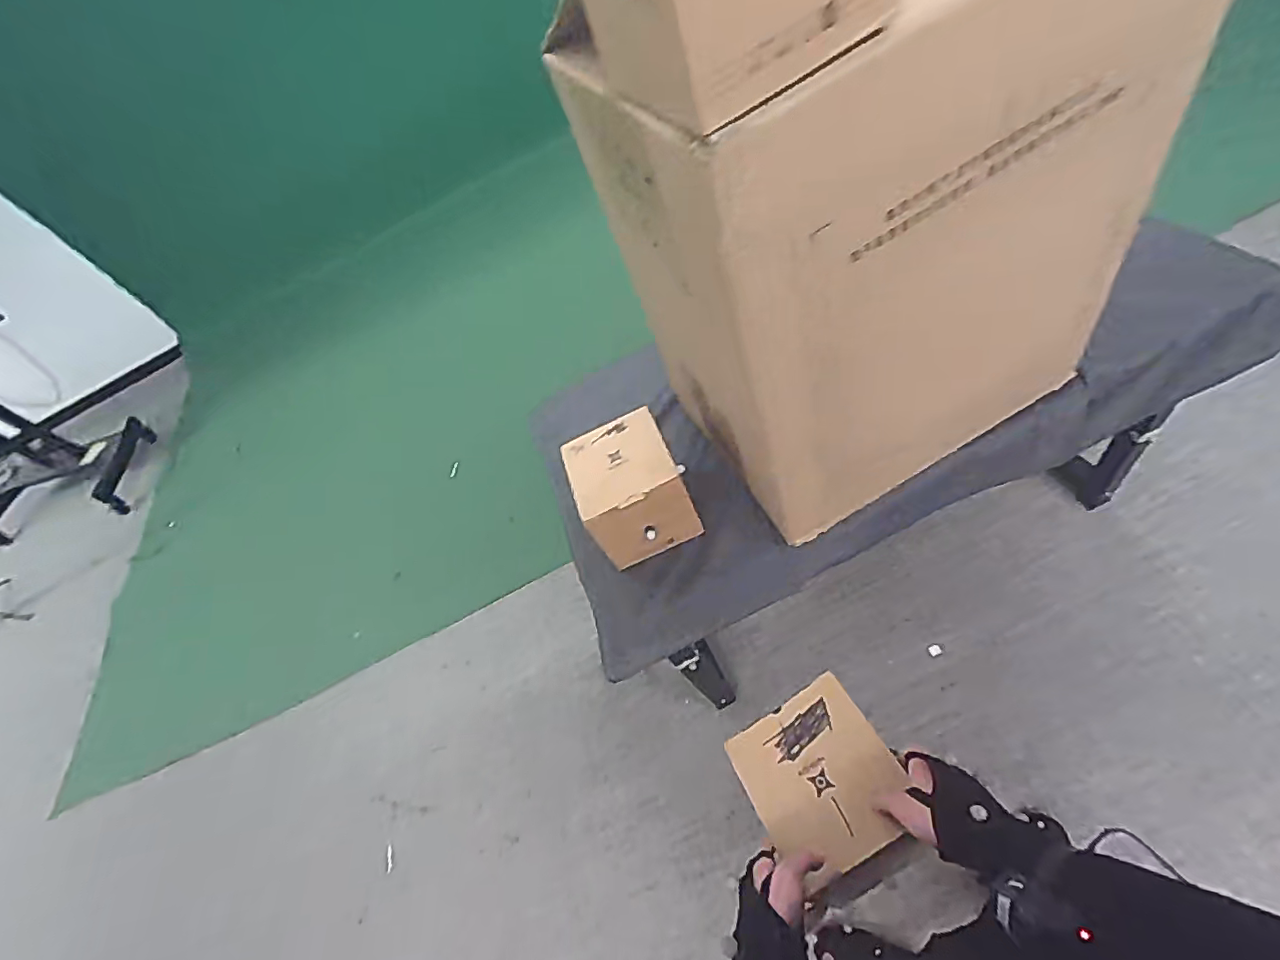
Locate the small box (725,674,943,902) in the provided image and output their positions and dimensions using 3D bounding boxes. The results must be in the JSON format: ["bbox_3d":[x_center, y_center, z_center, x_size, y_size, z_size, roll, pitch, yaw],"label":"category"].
[{"bbox_3d":[0.237,0.382,0.667,0.168,0.176,0.179,-37,42,5],"label":"small box"}]

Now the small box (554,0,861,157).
[{"bbox_3d":[0.036,-0.364,0.381,0.168,0.176,0.179,-32,50,0],"label":"small box"}]
